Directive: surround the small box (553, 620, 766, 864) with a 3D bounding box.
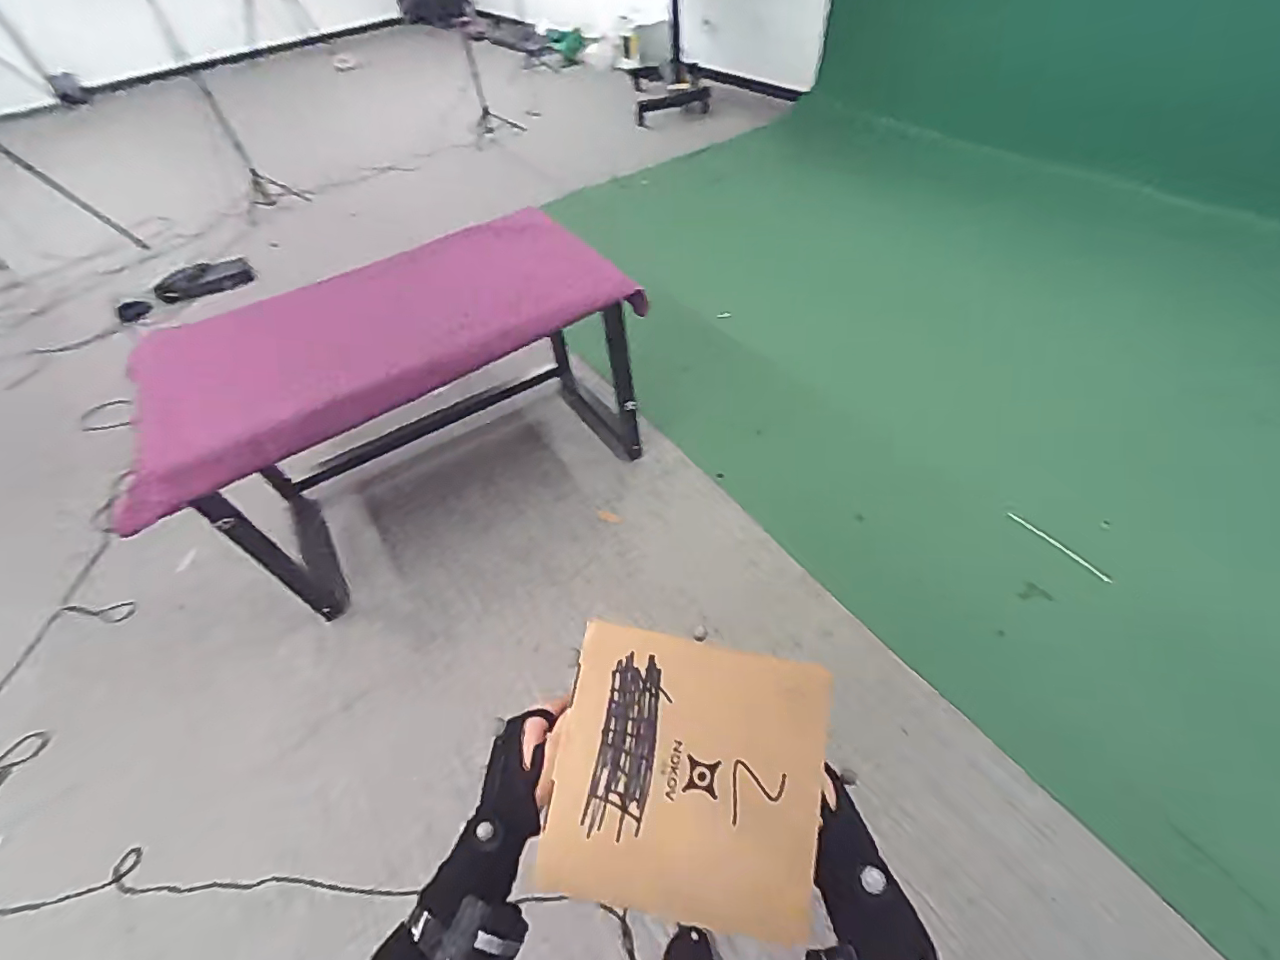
[{"bbox_3d":[0.021,0.266,0.587,0.168,0.176,0.179,17,72,3],"label":"small box"}]
